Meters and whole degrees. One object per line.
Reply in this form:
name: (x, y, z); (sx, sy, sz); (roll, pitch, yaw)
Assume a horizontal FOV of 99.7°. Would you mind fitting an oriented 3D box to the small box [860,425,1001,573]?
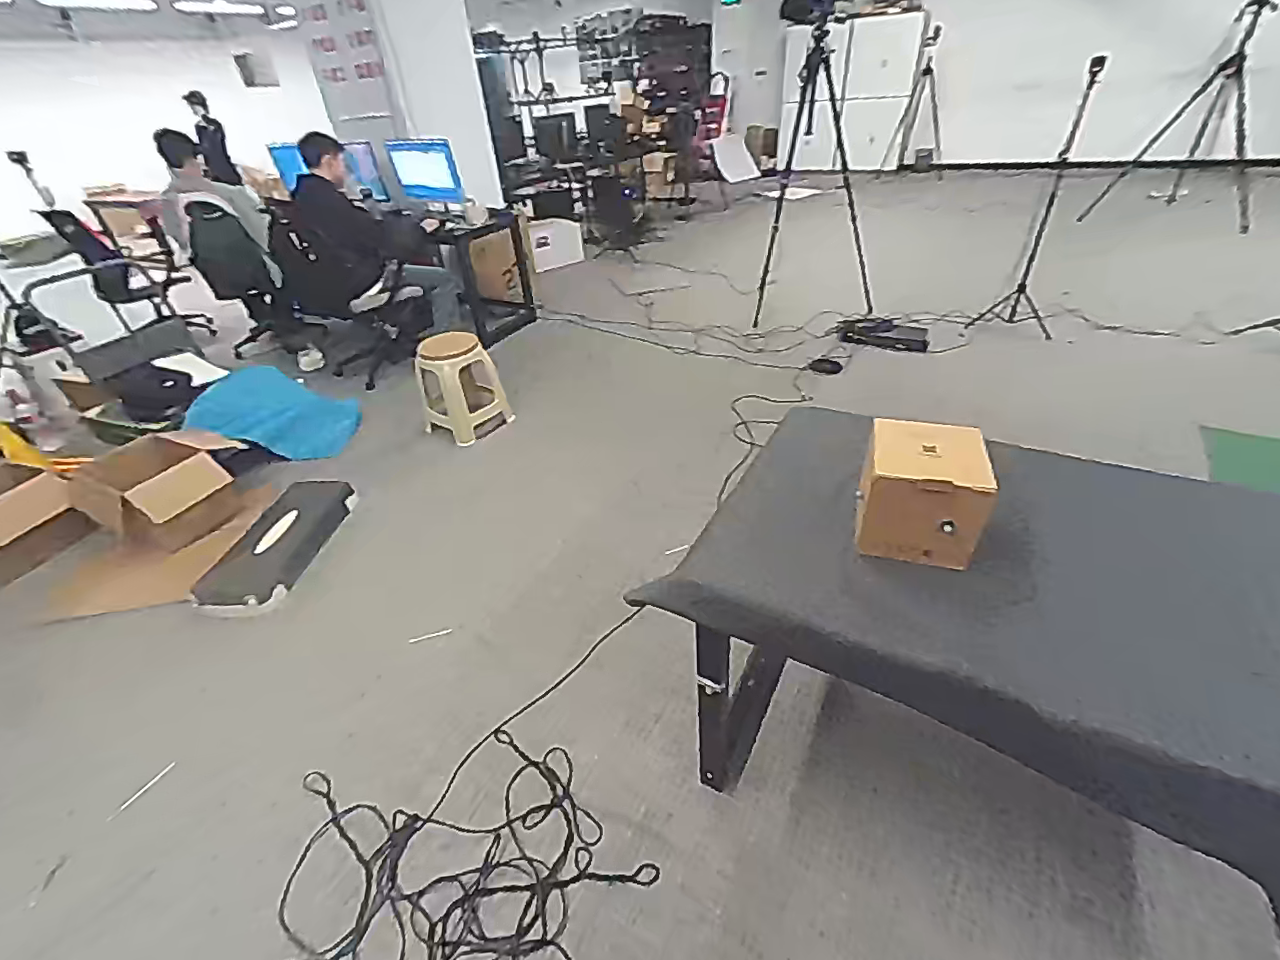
small box: (0.467, 0.030, 0.896); (0.168, 0.176, 0.179); (9, 37, 17)
